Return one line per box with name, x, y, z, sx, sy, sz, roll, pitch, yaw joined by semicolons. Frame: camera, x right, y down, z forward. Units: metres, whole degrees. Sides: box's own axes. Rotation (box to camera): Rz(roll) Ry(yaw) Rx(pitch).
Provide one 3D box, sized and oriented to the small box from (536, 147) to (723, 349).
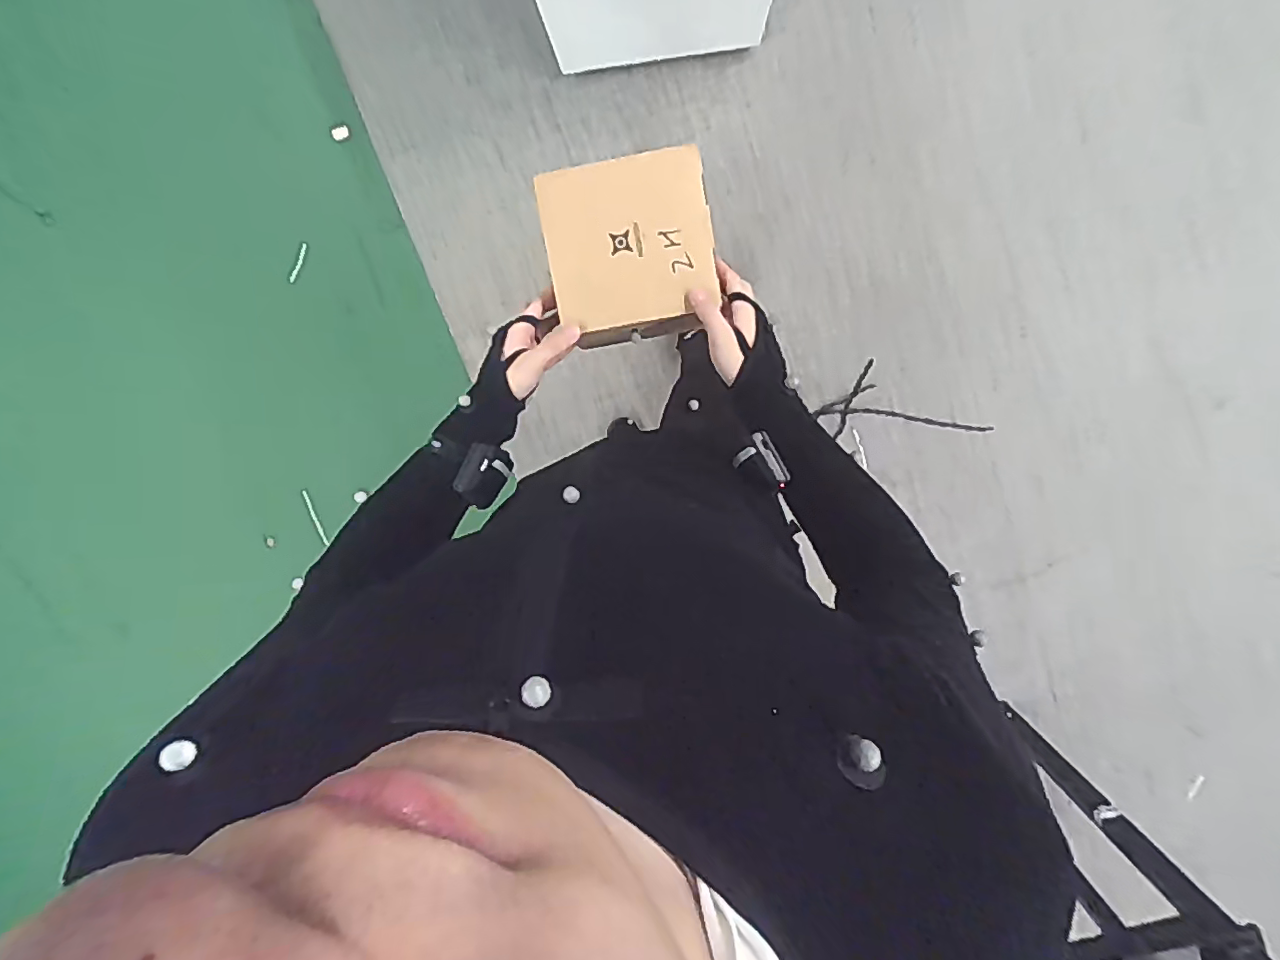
small box;-0.007;-0.257;0.642;0.179;0.176;0.168;-10;98;3
